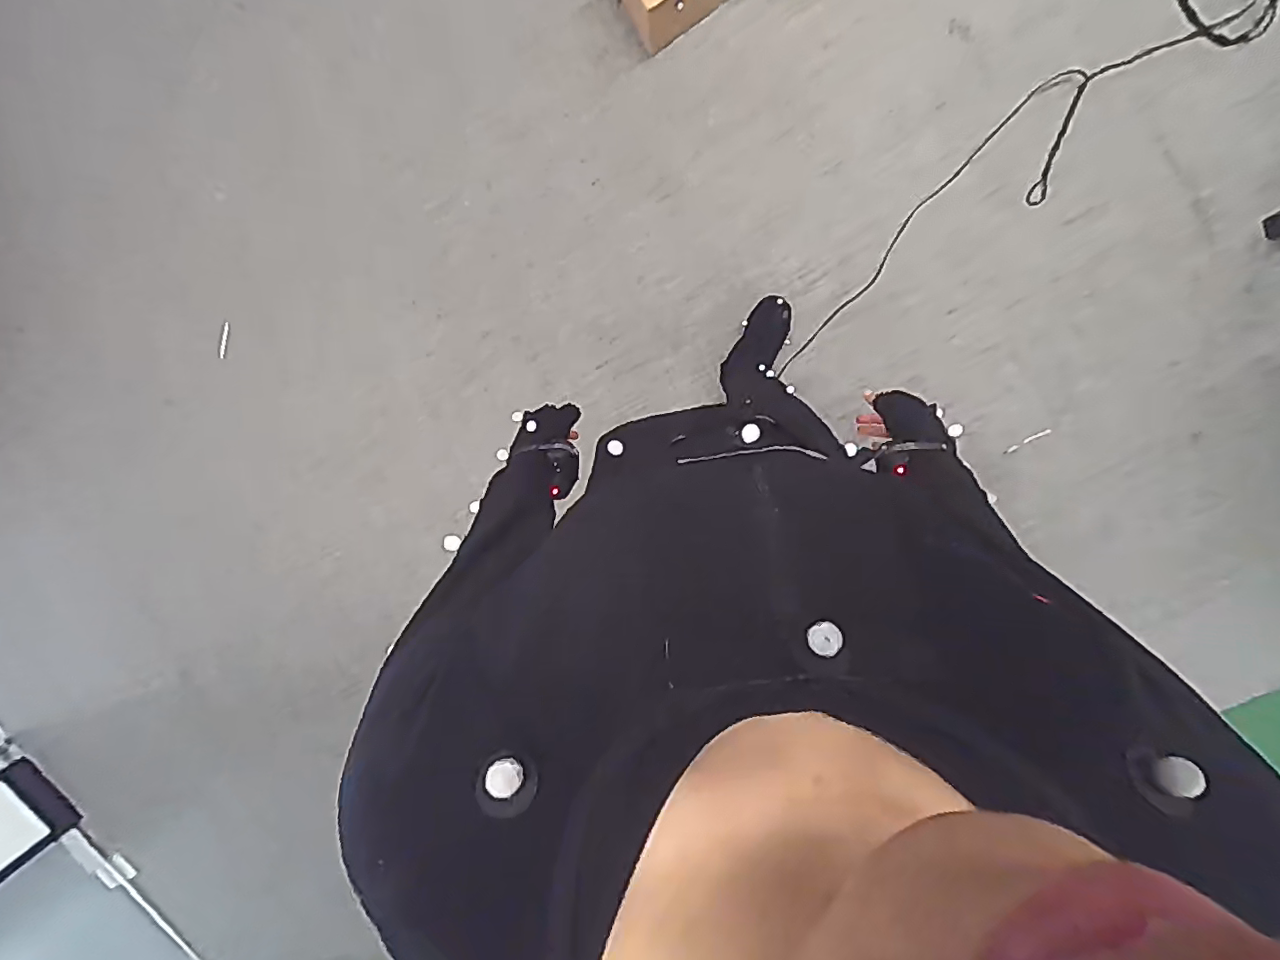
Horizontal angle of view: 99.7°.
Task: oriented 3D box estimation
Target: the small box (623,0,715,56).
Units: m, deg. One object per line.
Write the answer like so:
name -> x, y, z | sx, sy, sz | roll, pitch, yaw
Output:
small box -> 0.055, -1.066, 1.150 | 0.179, 0.176, 0.168 | -30, 99, 9
